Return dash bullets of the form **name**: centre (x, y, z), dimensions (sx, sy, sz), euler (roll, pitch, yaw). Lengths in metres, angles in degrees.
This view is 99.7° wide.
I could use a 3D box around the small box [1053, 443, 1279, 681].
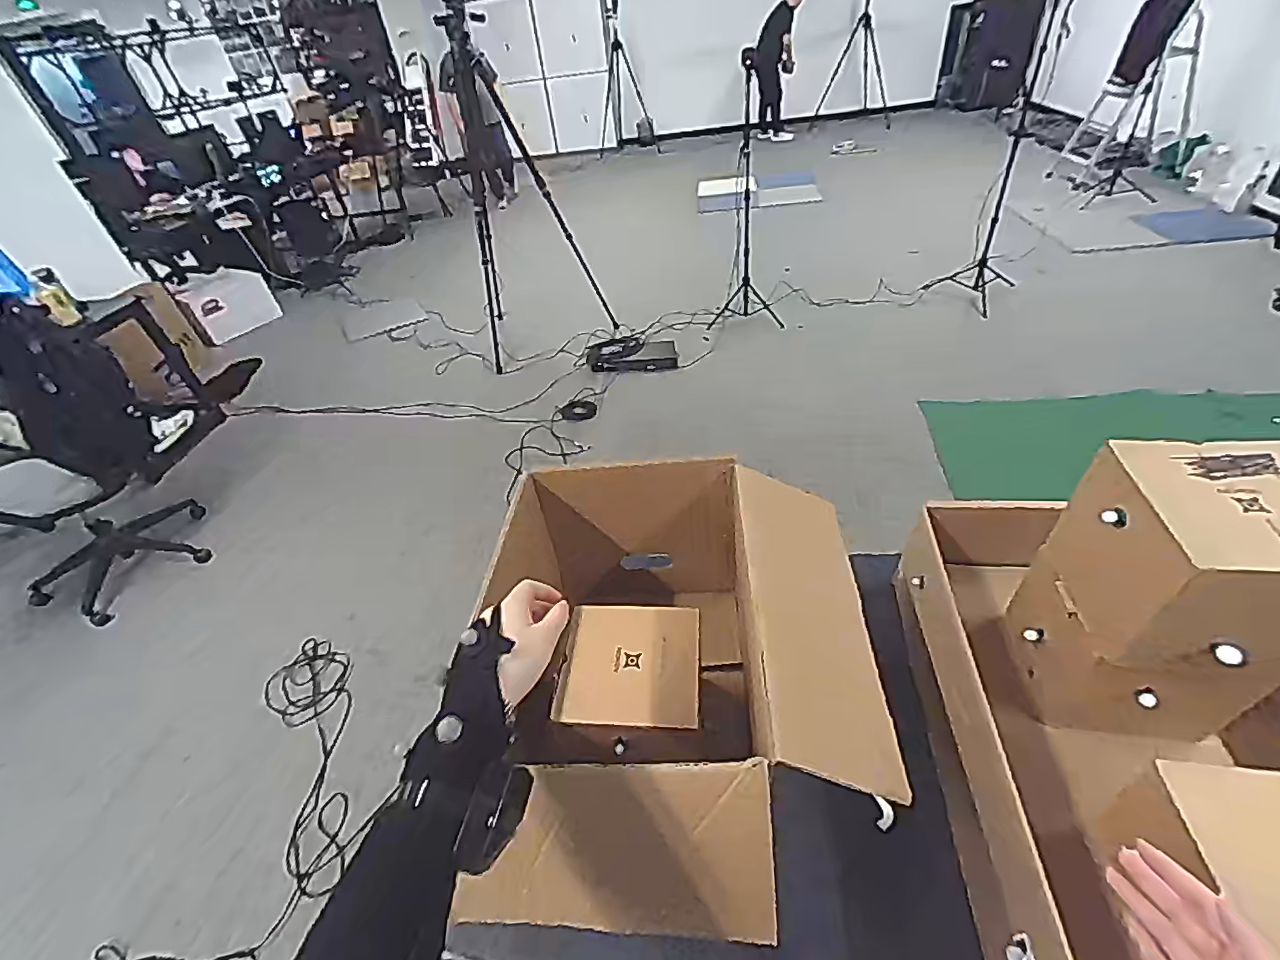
- **small box**: centre (0.574, 0.081, 0.560), dimensions (0.168, 0.176, 0.179), euler (1, 44, 12)
